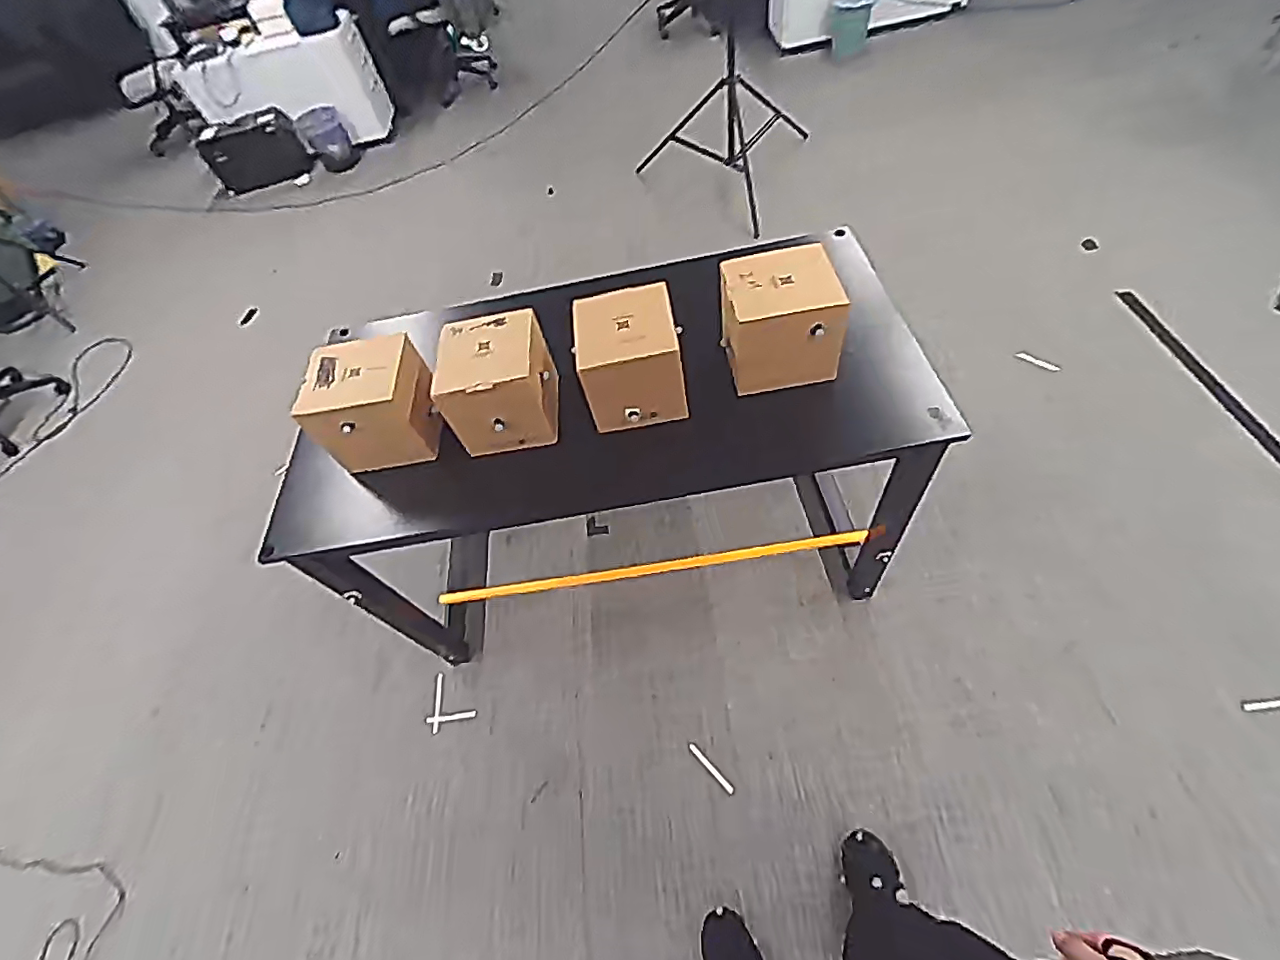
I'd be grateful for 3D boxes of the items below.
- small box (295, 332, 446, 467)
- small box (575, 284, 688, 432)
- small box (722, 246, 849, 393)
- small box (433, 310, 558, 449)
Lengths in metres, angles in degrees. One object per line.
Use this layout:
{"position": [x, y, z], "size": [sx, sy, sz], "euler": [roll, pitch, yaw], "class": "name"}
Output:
{"position": [-0.477, -0.140, 0.989], "size": [0.179, 0.176, 0.168], "euler": [-9, 56, 3], "class": "small box"}
{"position": [-0.013, -0.211, 0.957], "size": [0.168, 0.176, 0.179], "euler": [-11, 56, 4], "class": "small box"}
{"position": [0.244, -0.276, 0.949], "size": [0.179, 0.176, 0.168], "euler": [-9, 55, 5], "class": "small box"}
{"position": [-0.248, -0.171, 0.970], "size": [0.168, 0.176, 0.179], "euler": [-9, 56, 3], "class": "small box"}
